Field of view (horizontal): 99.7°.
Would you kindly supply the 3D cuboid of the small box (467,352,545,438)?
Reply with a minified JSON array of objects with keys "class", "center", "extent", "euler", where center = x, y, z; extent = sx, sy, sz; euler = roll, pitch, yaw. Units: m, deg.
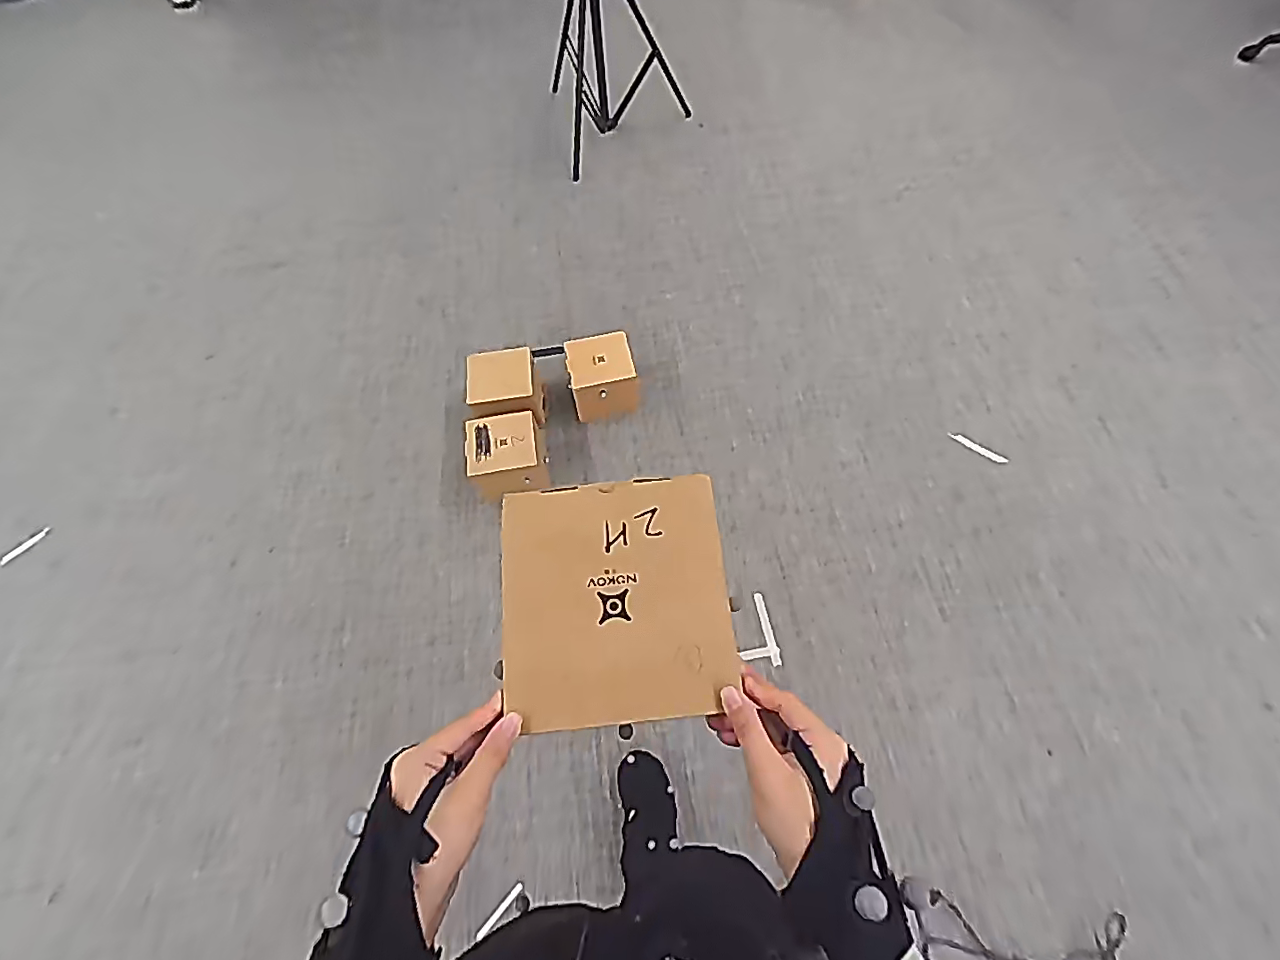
[{"class":"small box","center":[-0.375,-0.240,1.527],"extent":[0.179,0.176,0.168],"euler":[-8,63,-2]}]

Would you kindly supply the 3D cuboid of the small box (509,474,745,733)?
[{"class":"small box","center":[-0.011,0.111,0.470],"extent":[0.168,0.176,0.179],"euler":[-6,68,0]}]

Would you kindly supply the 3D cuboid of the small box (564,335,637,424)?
[{"class":"small box","center":[-0.108,-0.282,1.543],"extent":[0.179,0.176,0.168],"euler":[-13,64,-3]}]
